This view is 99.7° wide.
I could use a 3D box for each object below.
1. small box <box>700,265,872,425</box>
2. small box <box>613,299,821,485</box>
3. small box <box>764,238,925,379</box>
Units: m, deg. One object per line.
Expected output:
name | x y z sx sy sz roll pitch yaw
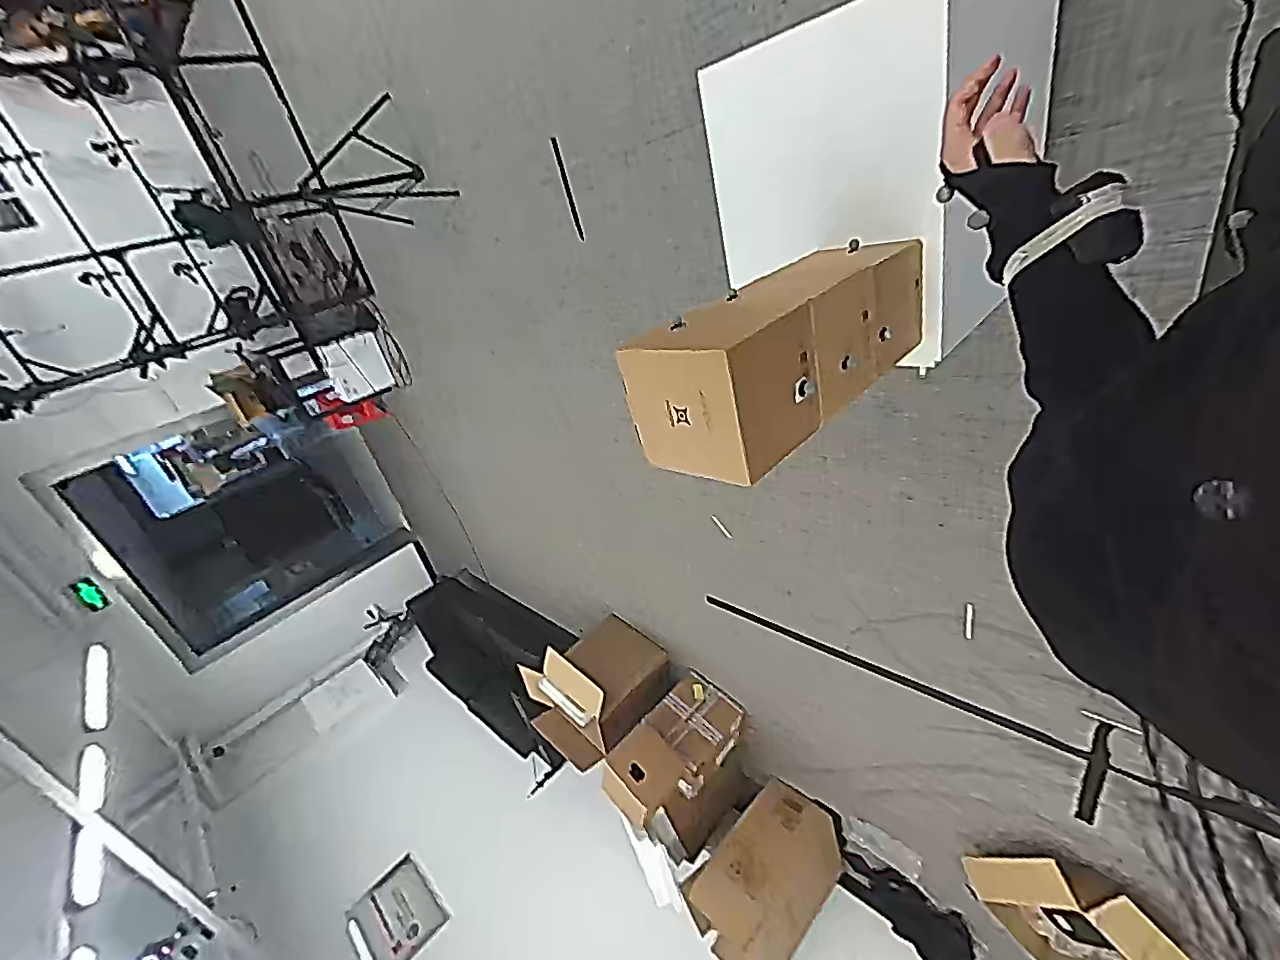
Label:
small box | 0.213 -0.194 0.765 0.179 0.176 0.168 14 129 46
small box | 0.100 -0.117 0.677 0.179 0.176 0.168 13 129 45
small box | 0.324 -0.272 0.856 0.179 0.176 0.168 16 130 45
